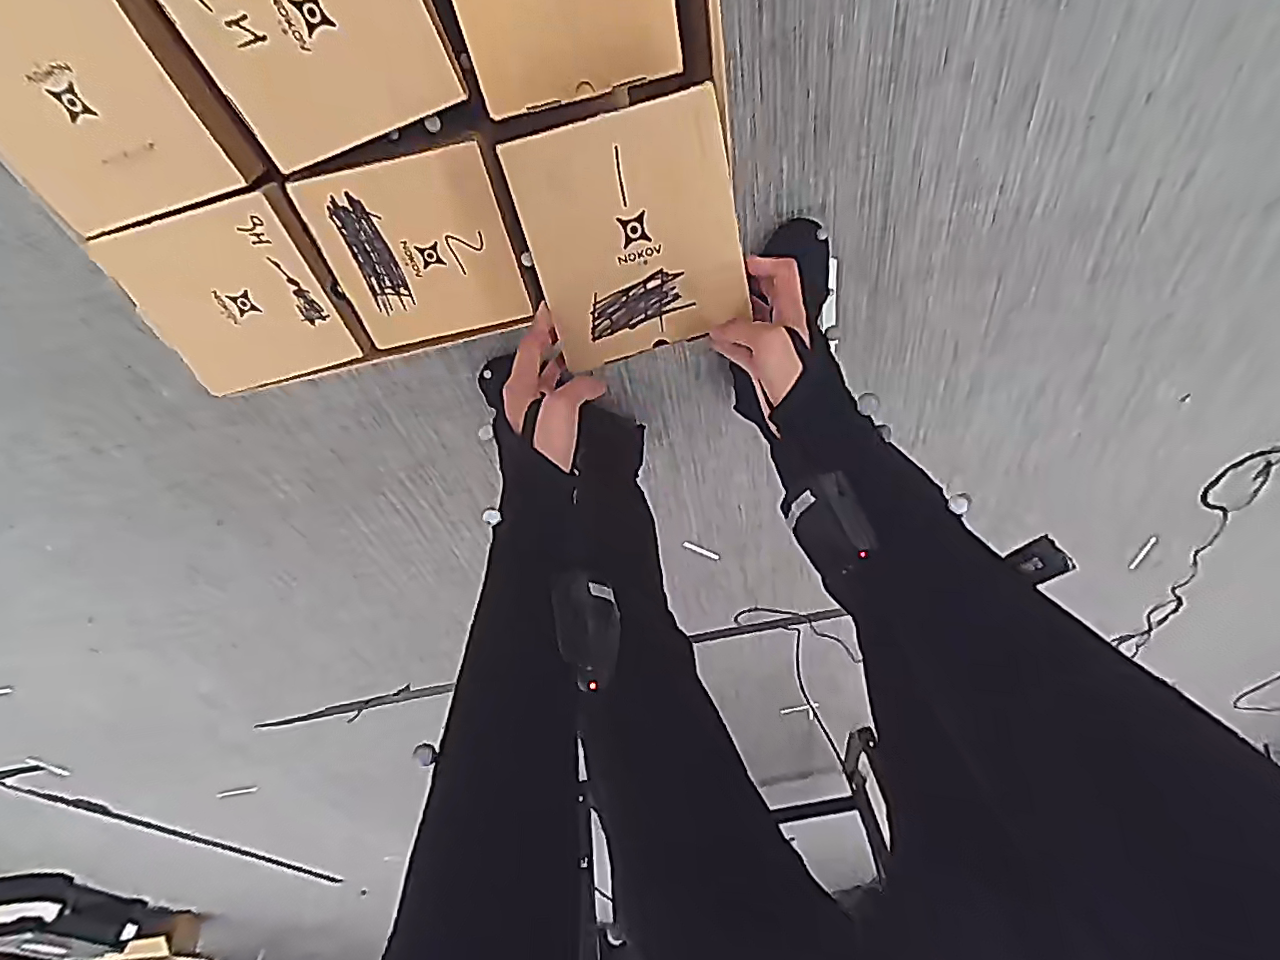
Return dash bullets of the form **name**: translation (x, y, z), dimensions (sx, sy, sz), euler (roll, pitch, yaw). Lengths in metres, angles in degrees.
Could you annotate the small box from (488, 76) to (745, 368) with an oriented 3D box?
- **small box**: translation (-0.017, -0.223, 0.487), dimensions (0.168, 0.176, 0.179), euler (-16, 116, 0)
